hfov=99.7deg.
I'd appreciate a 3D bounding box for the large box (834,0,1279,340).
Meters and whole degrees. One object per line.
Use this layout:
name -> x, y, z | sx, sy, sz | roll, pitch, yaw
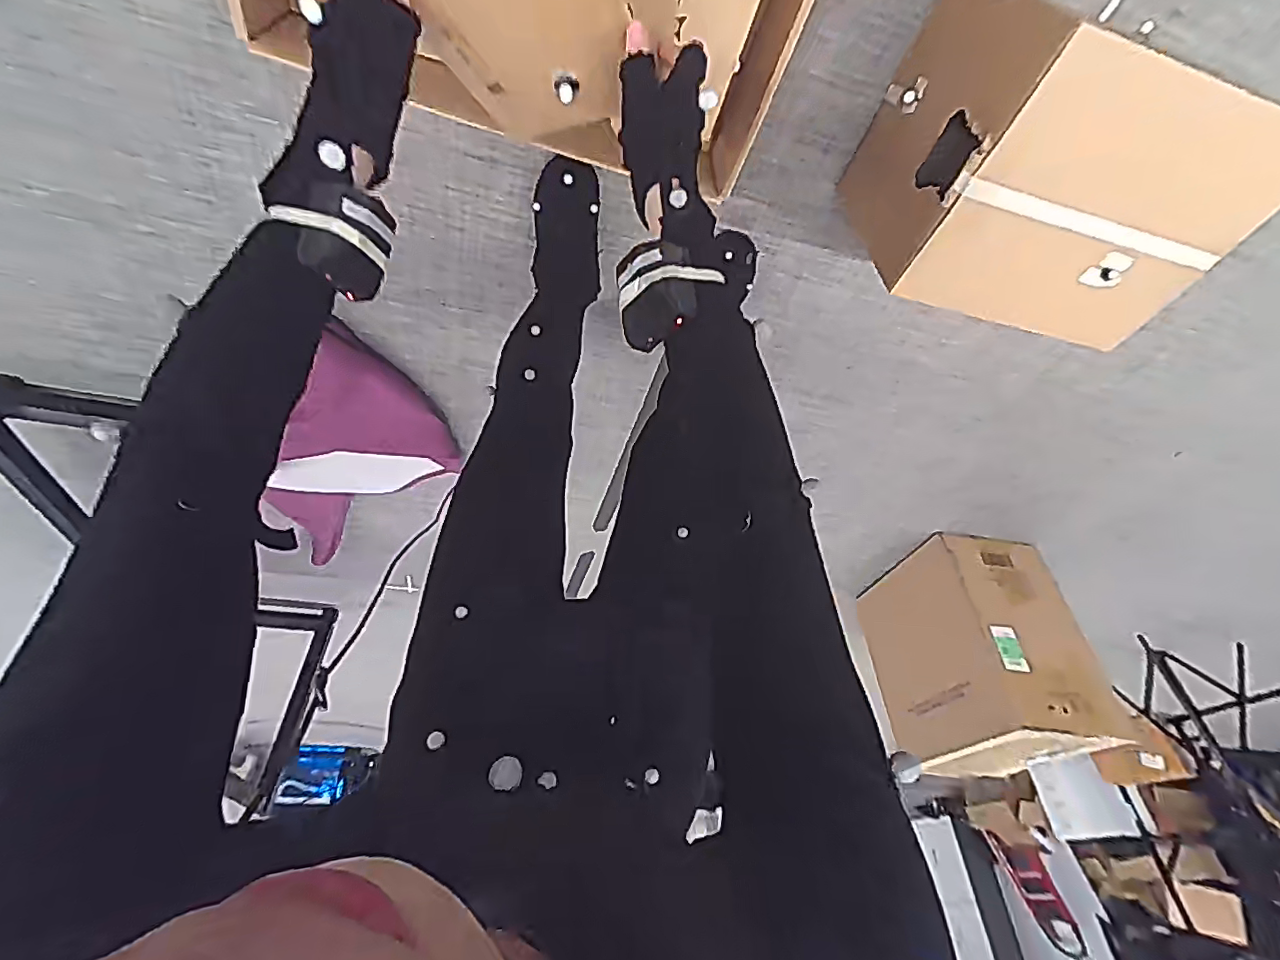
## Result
large box -> 0.567, -0.451, 0.781 | 0.408, 0.320, 0.320 | 8, 141, -13
